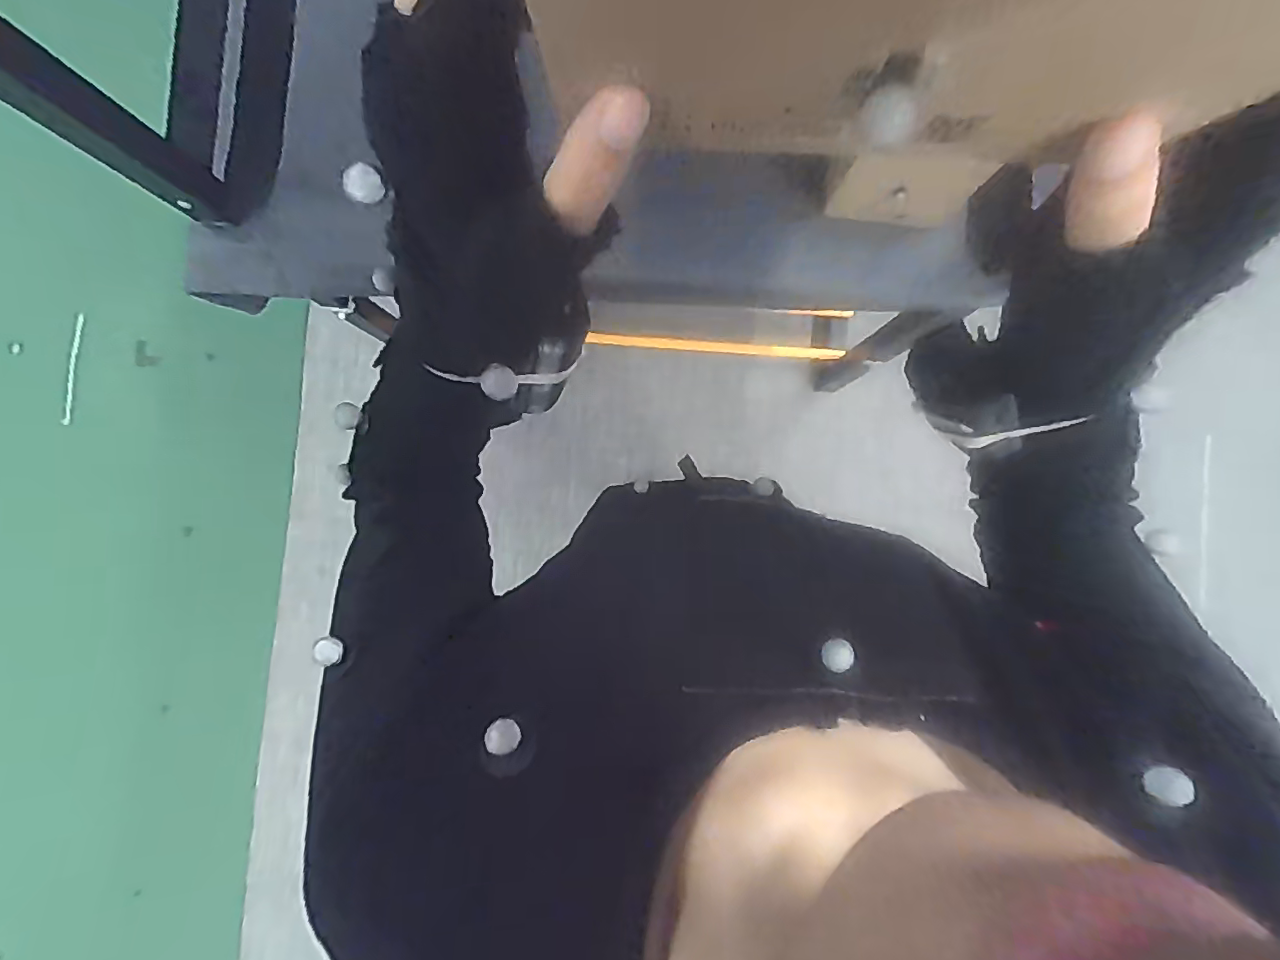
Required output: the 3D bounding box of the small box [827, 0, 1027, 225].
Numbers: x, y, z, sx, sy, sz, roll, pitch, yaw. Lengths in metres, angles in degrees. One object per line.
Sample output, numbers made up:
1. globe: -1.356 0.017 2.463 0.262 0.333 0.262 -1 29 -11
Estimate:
1. small box: 0.355 -0.459 0.701 0.168 0.176 0.179 8 87 1
